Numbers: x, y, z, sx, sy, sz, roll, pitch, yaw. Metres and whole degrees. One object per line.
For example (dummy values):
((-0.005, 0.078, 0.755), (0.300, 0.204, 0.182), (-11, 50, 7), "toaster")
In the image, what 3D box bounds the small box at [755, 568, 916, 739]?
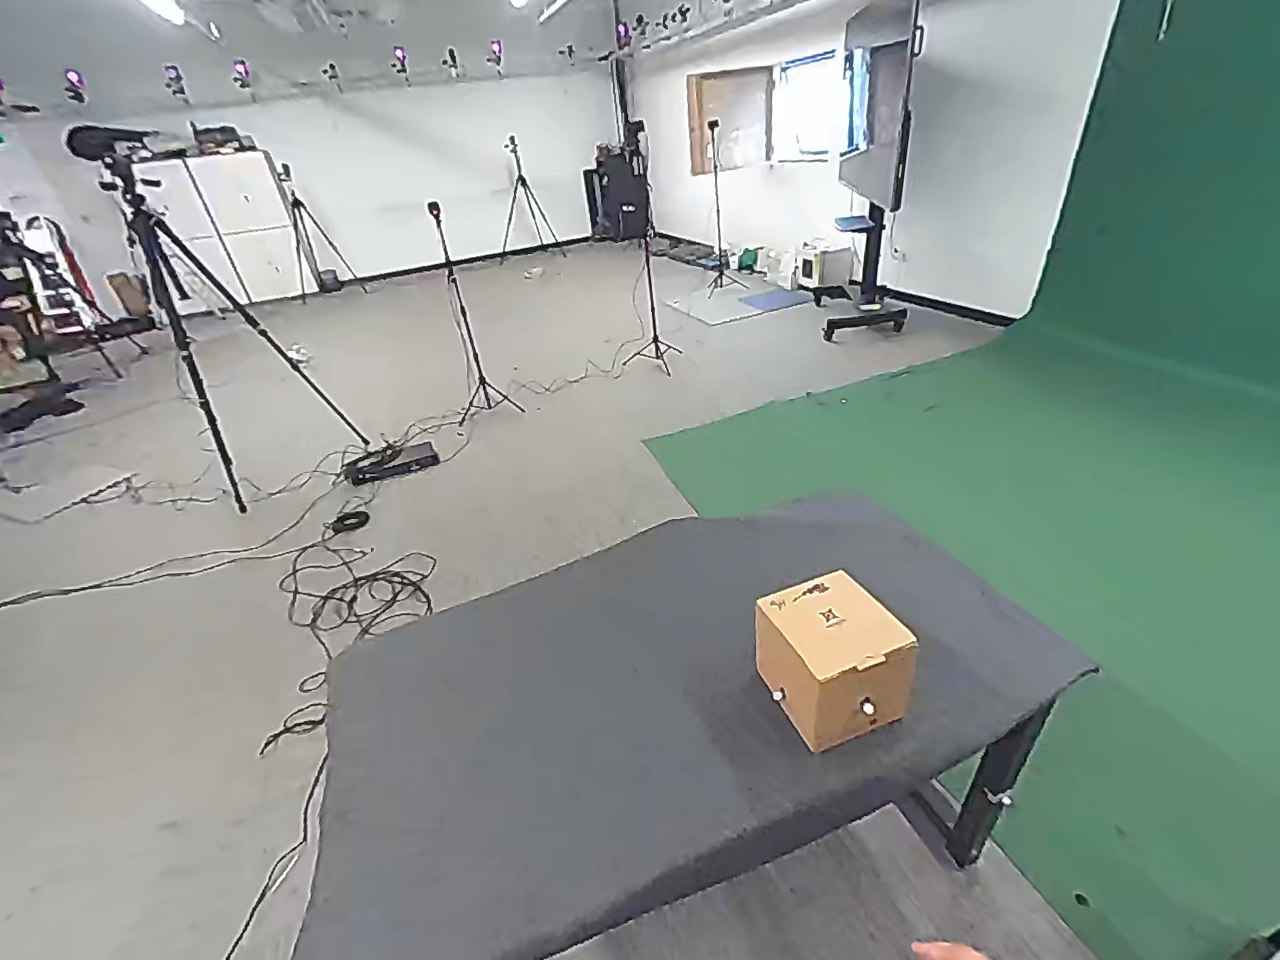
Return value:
((0.297, 0.275, 0.849), (0.168, 0.176, 0.179), (-17, 32, -12), "small box")
